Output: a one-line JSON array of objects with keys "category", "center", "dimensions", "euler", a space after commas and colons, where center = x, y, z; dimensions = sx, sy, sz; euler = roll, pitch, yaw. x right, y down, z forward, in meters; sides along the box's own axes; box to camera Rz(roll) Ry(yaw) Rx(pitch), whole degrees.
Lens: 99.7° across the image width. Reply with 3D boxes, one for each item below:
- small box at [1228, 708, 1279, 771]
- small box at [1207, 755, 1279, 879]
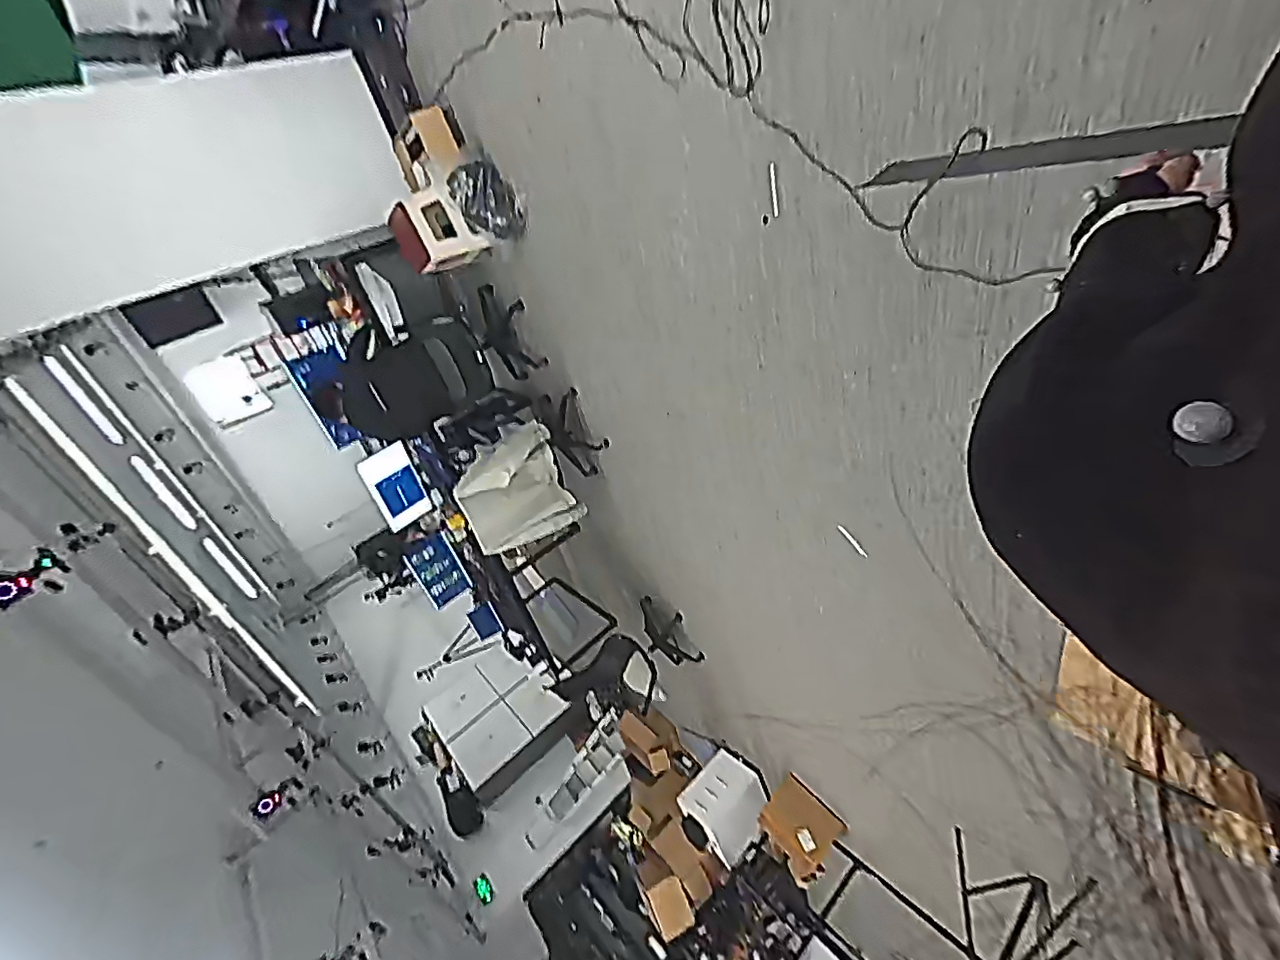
[{"category": "small box", "center": [1.593, 0.707, 1.335], "dimensions": [0.168, 0.176, 0.179], "euler": [19, 136, 49]}, {"category": "small box", "center": [1.474, 0.793, 1.261], "dimensions": [0.168, 0.176, 0.179], "euler": [17, 136, 49]}]
